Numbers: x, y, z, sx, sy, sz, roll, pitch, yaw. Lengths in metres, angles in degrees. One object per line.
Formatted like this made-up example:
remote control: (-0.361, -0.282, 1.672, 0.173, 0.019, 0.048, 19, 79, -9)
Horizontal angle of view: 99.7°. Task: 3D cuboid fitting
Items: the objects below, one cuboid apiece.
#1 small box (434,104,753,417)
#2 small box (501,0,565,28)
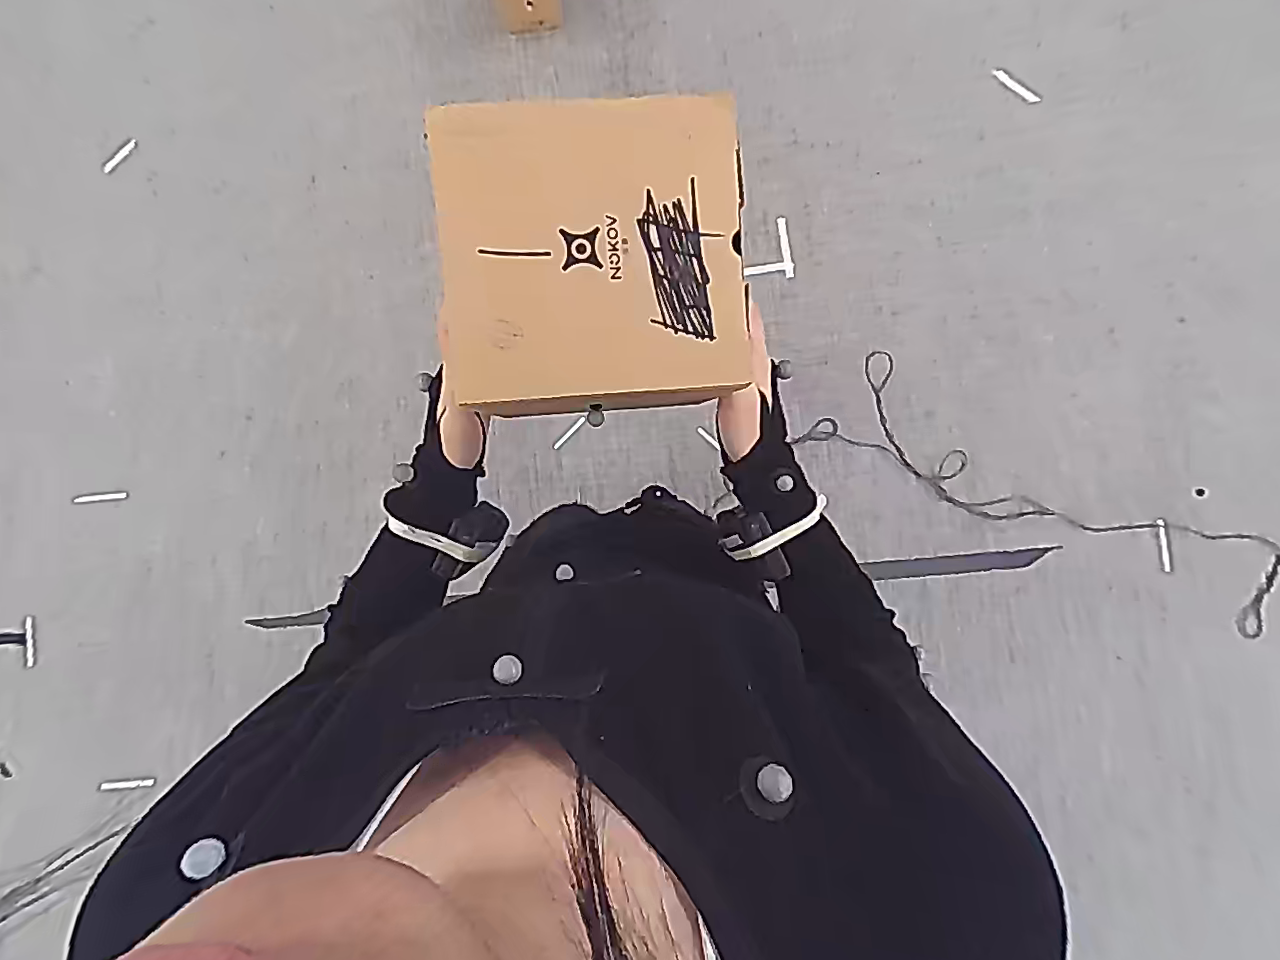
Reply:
small box: (-0.029, -0.135, 0.391, 0.179, 0.176, 0.168, -5, 94, -4)
small box: (-0.308, -1.408, 1.507, 0.168, 0.176, 0.179, -5, 87, 2)
